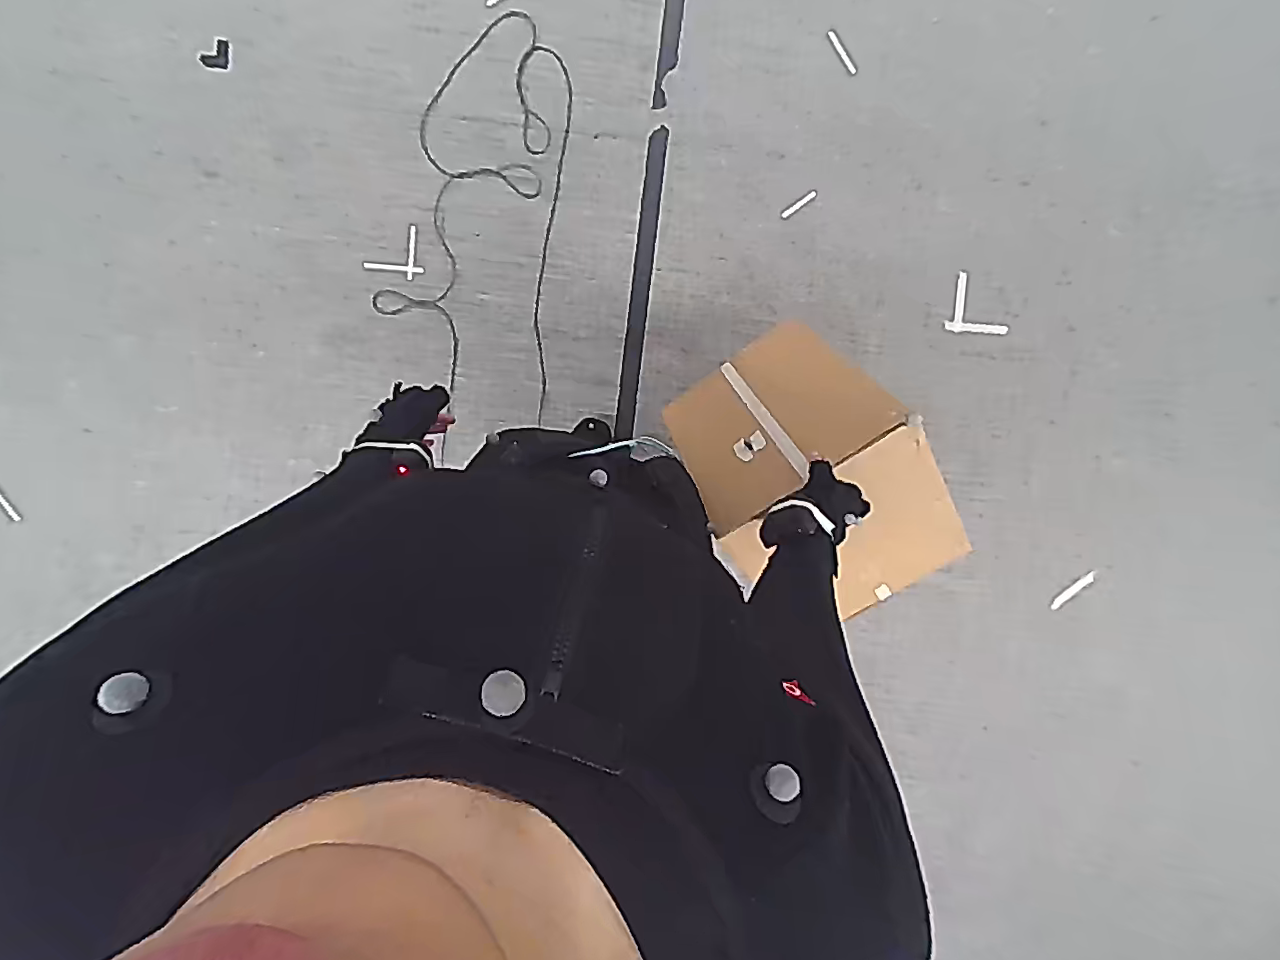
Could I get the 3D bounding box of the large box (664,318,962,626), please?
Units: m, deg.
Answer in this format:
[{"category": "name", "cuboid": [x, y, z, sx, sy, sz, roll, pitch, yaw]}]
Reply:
[{"category": "large box", "cuboid": [0.289, -0.024, 0.982, 0.320, 0.408, 0.320, -35, 125, 13]}]
